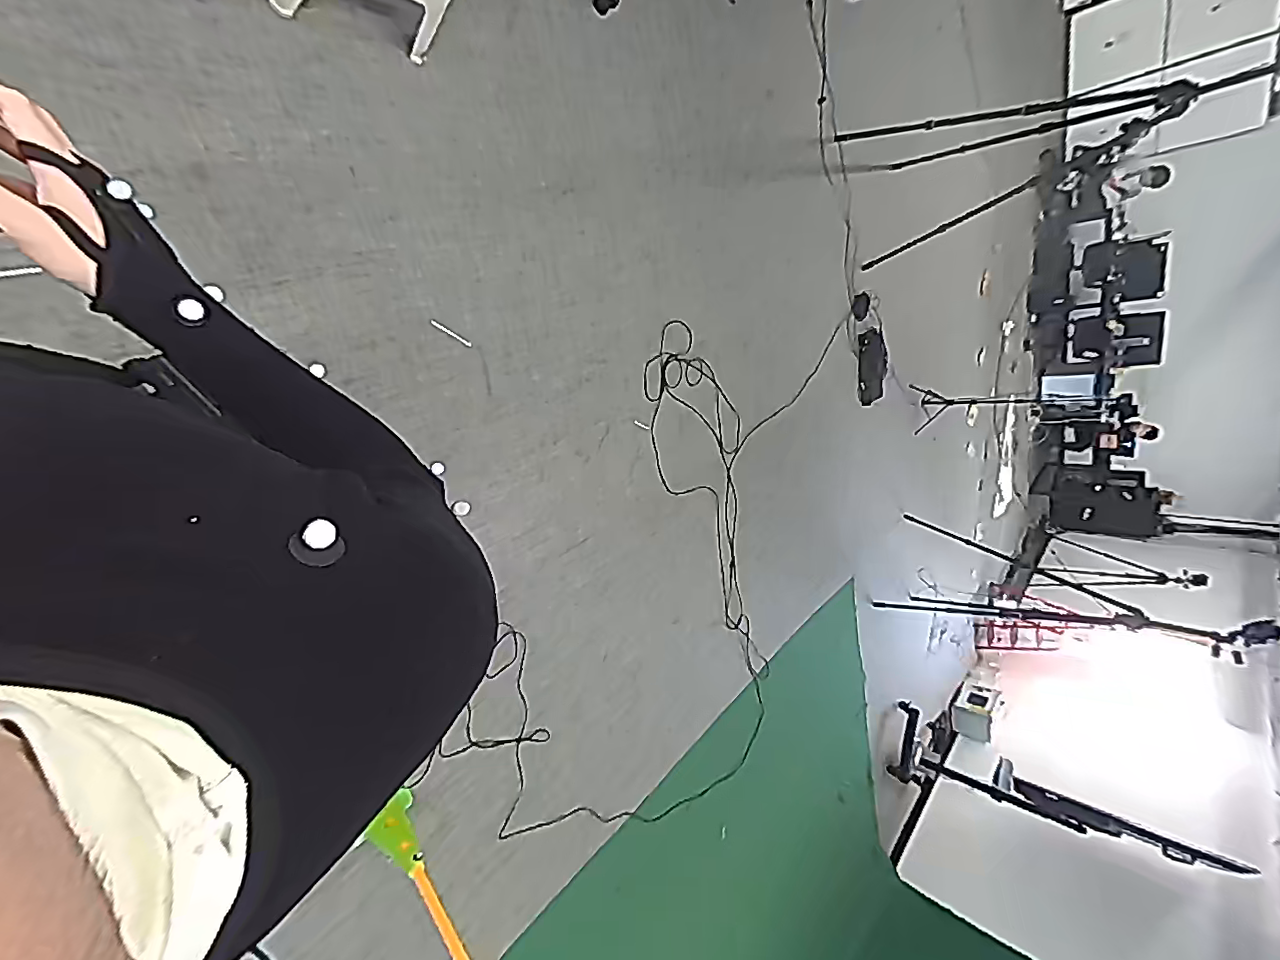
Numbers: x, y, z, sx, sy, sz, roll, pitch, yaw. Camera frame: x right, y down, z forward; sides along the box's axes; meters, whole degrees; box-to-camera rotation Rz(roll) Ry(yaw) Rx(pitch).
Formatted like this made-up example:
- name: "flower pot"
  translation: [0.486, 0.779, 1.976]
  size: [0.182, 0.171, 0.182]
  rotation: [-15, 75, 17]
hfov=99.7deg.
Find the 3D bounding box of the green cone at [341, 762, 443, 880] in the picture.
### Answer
- name: "green cone"
  translation: [-0.656, 1.006, 1.520]
  size: [0.202, 0.368, 0.200]
  rotation: [-29, 115, -39]
